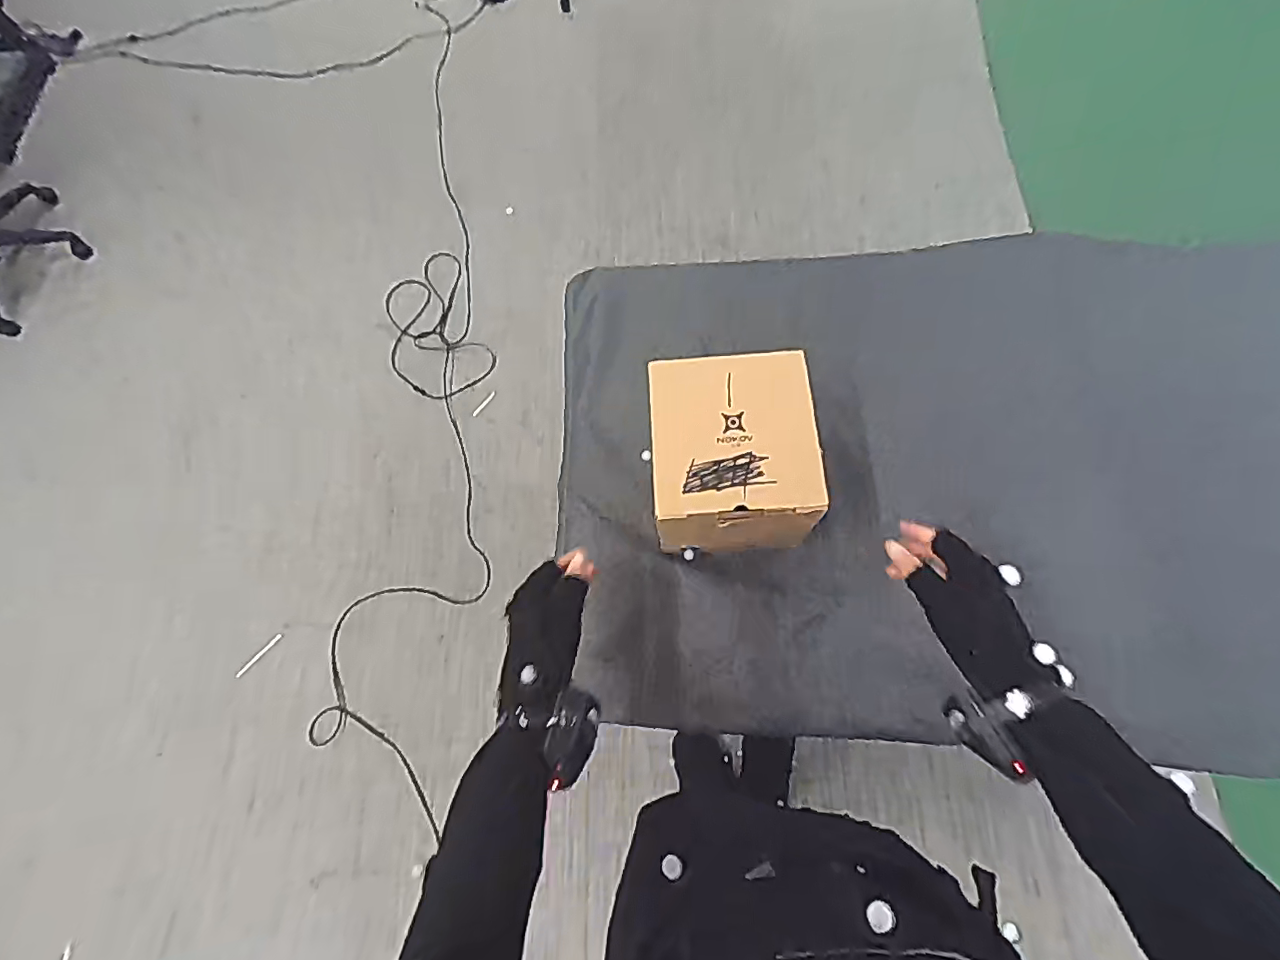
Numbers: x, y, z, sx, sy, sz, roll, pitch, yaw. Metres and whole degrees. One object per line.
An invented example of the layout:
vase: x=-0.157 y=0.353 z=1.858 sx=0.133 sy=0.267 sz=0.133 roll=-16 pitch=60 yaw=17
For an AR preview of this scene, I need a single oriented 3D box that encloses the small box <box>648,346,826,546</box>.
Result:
small box: x=0.099 y=-0.026 z=0.610 sx=0.168 sy=0.176 sz=0.179 roll=-3 pitch=70 yaw=4
